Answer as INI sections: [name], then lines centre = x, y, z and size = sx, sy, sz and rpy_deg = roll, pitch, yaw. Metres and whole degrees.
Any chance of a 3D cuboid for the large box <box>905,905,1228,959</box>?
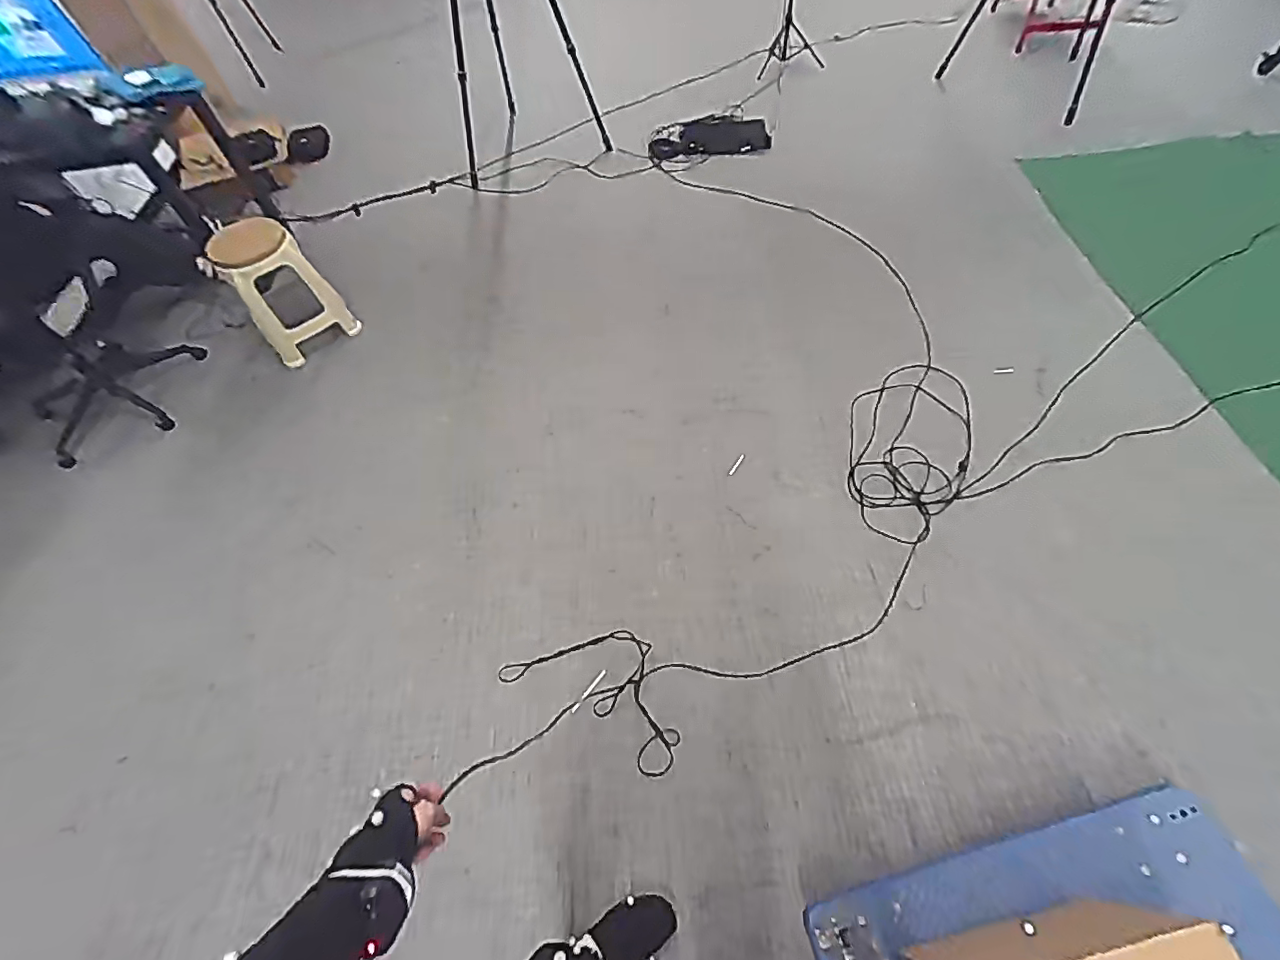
[large box]
centre = 0.702, 0.917, 0.843
size = 0.408, 0.320, 0.320
rpy_deg = -12, 58, -4
